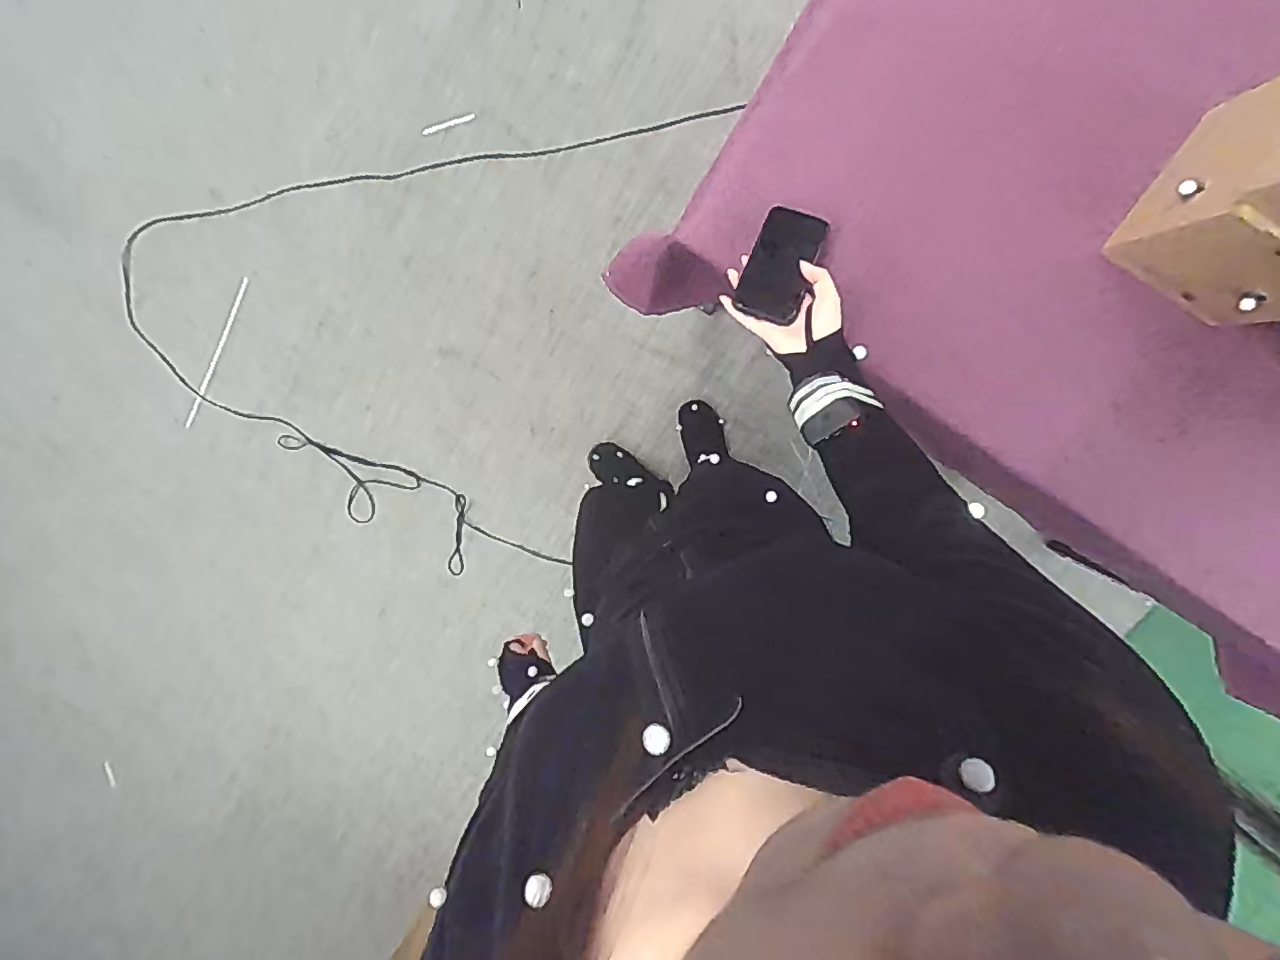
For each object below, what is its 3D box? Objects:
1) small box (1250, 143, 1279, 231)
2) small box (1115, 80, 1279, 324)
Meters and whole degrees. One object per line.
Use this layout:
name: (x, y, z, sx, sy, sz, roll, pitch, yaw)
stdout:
small box: (0.622, -0.257, 0.376, 0.168, 0.176, 0.179, 32, 102, -1)
small box: (0.641, -0.275, 0.540, 0.168, 0.176, 0.179, 33, 102, -2)
